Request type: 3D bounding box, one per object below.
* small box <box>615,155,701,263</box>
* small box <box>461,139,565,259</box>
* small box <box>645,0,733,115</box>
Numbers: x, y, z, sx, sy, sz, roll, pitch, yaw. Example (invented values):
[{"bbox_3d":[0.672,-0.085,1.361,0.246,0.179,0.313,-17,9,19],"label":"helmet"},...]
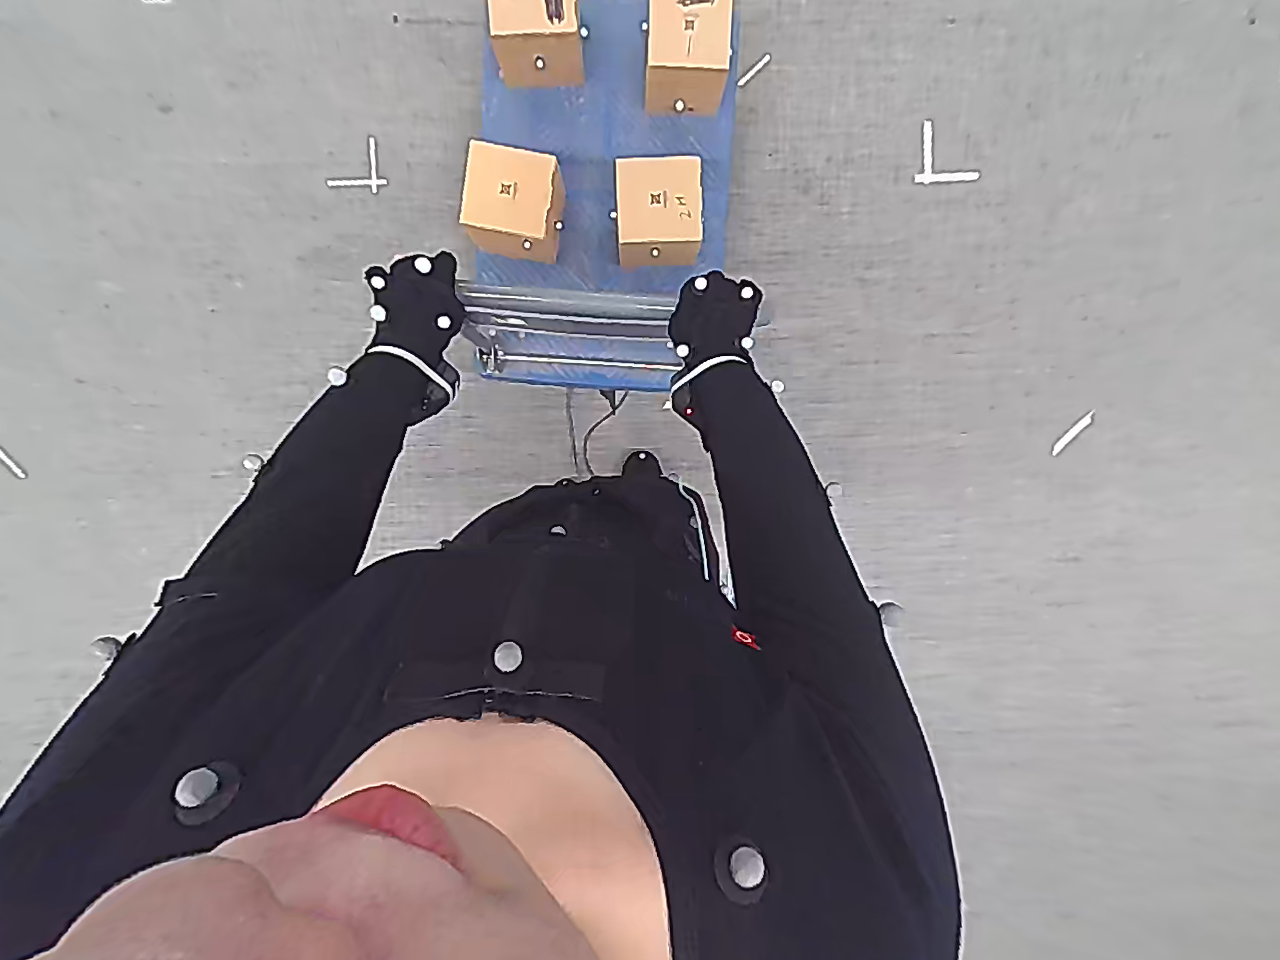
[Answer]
[{"bbox_3d":[0.038,-0.583,1.183,0.179,0.176,0.168,-2,96,-1],"label":"small box"},{"bbox_3d":[-0.268,-0.599,1.174,0.179,0.176,0.168,9,95,-4],"label":"small box"},{"bbox_3d":[0.099,-0.922,1.152,0.168,0.176,0.179,2,96,-1],"label":"small box"}]
